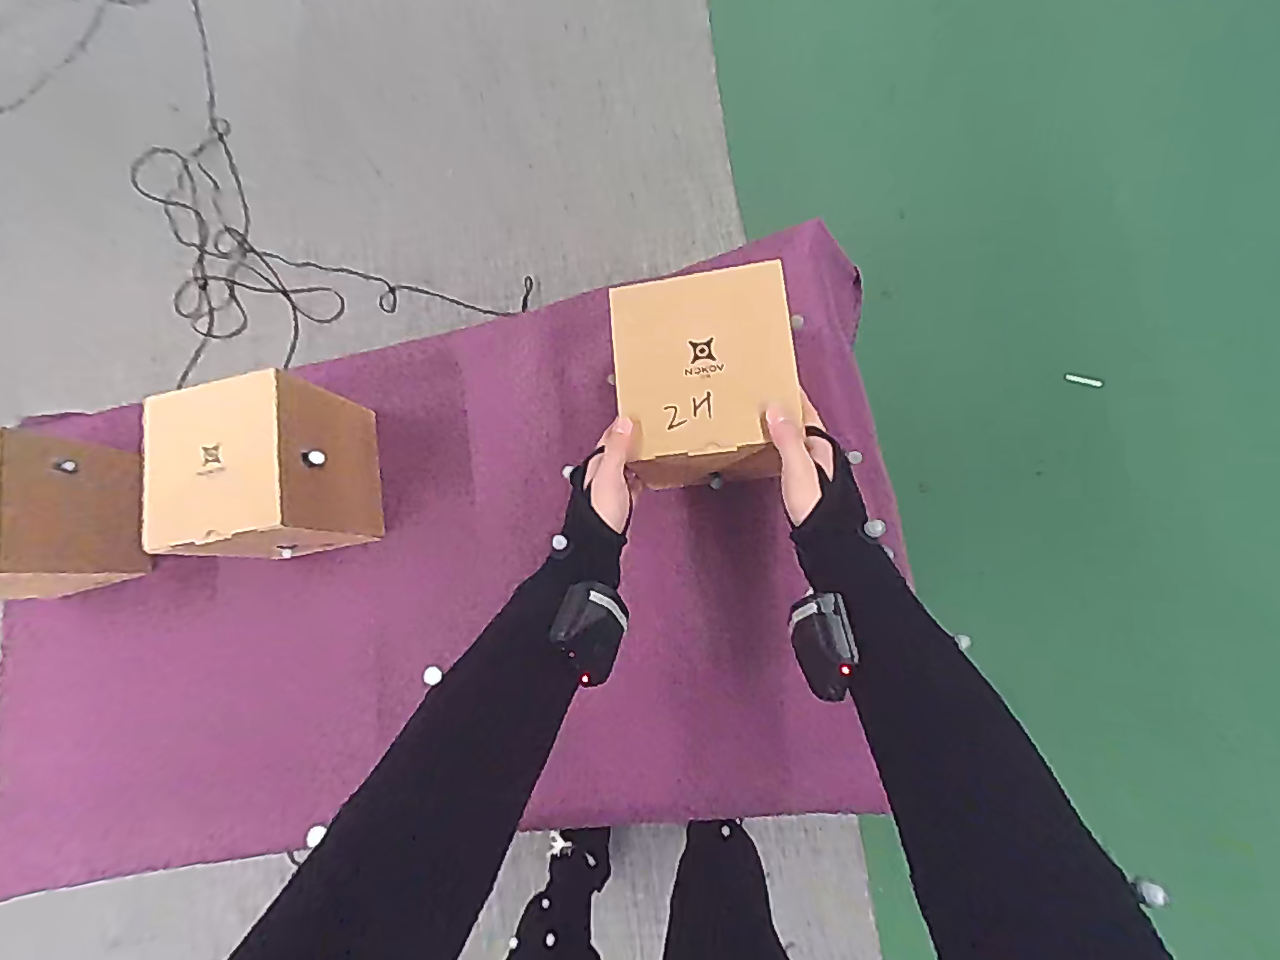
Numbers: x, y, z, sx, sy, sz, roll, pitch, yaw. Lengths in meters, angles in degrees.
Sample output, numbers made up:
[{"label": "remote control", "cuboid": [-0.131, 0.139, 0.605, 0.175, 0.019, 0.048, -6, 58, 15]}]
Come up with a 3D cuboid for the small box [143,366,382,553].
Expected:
[{"label": "small box", "cuboid": [-0.438, -0.013, 0.648, 0.168, 0.176, 0.179, -11, 80, 8]}]

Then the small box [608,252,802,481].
[{"label": "small box", "cuboid": [0.069, -0.103, 0.567, 0.168, 0.176, 0.179, -6, 81, 11]}]
